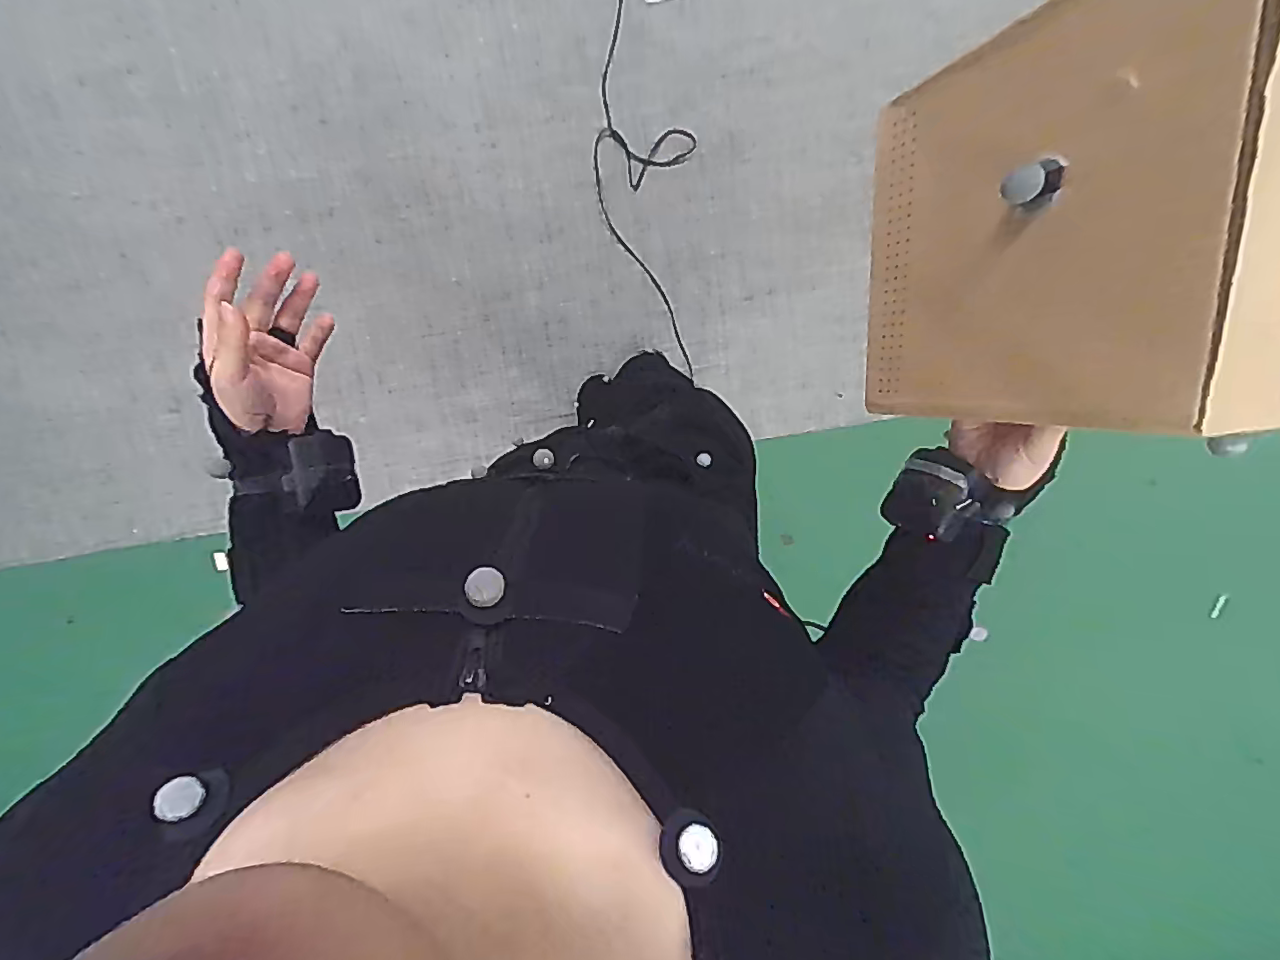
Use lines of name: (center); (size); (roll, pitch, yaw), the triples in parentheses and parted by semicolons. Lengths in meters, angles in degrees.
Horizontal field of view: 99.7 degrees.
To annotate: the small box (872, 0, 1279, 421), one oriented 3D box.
small box: (0.245, -0.124, 0.282); (0.168, 0.176, 0.179); (-7, 100, -17)
